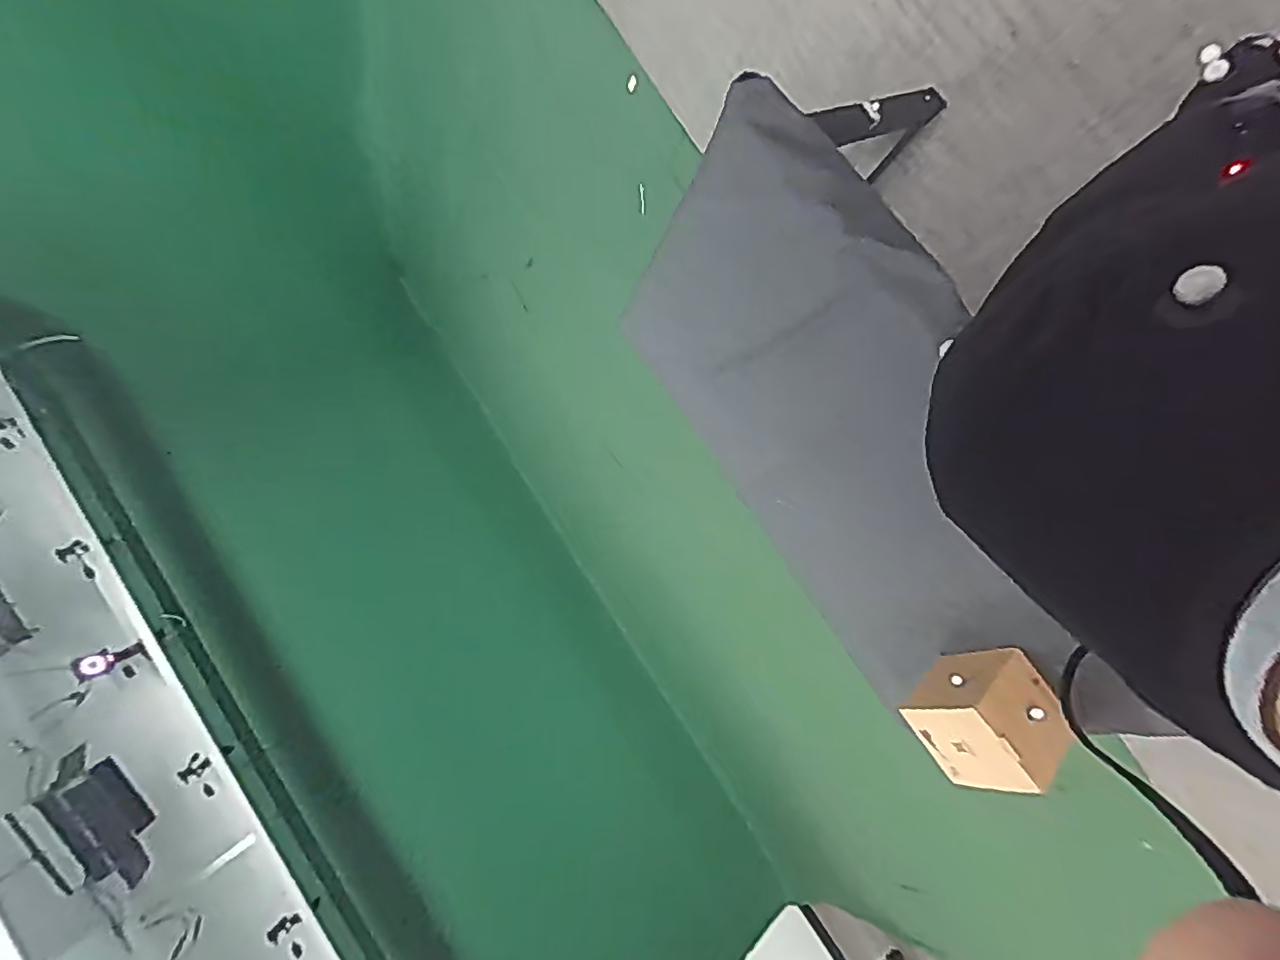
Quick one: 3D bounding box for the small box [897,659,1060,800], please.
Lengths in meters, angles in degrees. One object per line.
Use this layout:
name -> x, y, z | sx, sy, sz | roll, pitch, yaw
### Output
small box -> 0.625, 0.448, 0.992 | 0.168, 0.176, 0.179 | 55, 148, 8
